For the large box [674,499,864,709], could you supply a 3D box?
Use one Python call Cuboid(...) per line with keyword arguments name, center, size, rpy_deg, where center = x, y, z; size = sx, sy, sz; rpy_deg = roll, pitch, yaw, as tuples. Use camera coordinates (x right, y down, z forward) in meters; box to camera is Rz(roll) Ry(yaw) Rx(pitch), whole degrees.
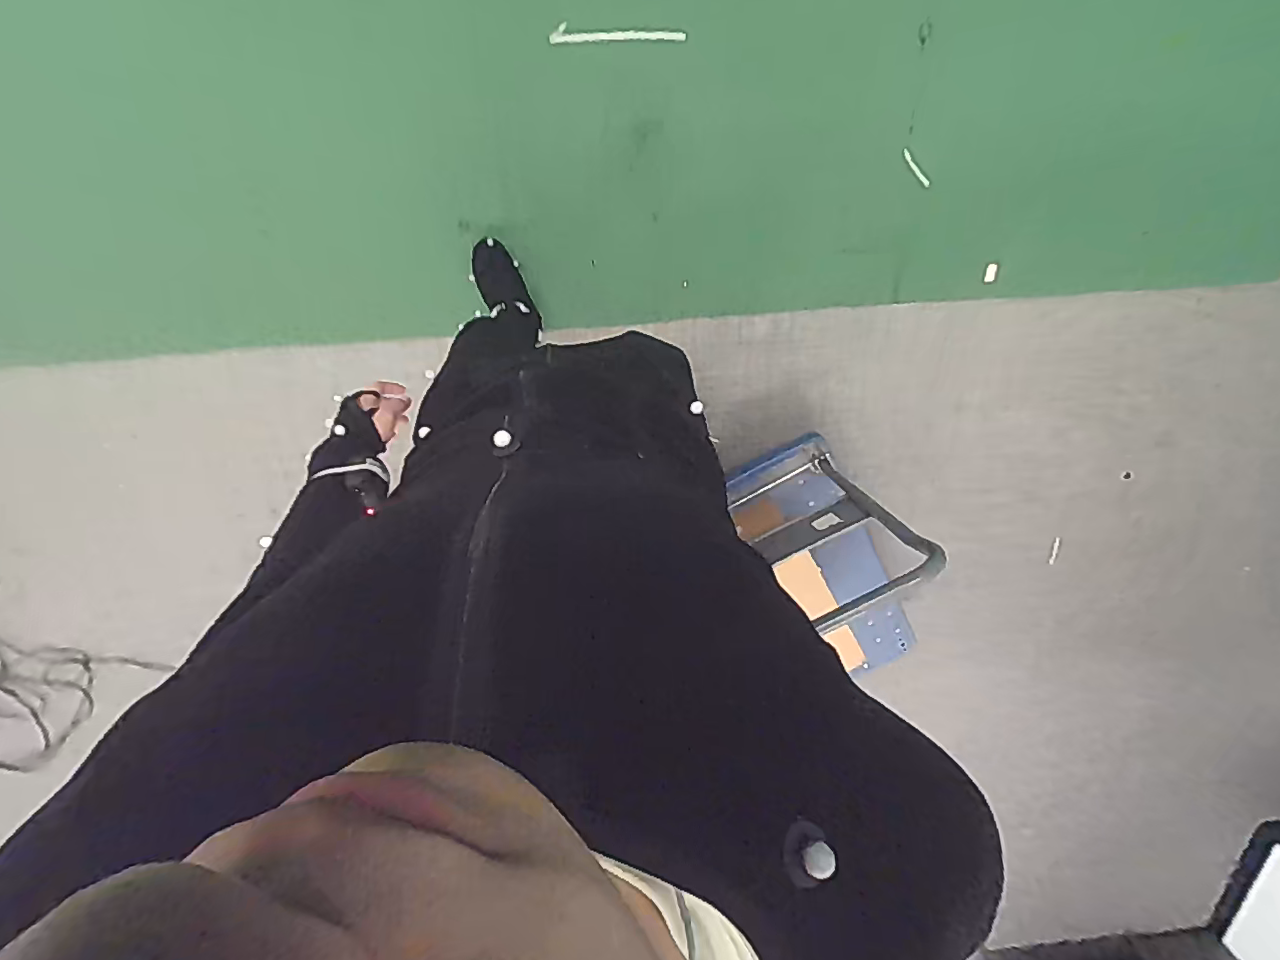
Cuboid(name="large box", center=(0.339, 0.331, 1.494), size=(0.320, 0.320, 0.408), rpy_deg=(-30, 112, 7))
